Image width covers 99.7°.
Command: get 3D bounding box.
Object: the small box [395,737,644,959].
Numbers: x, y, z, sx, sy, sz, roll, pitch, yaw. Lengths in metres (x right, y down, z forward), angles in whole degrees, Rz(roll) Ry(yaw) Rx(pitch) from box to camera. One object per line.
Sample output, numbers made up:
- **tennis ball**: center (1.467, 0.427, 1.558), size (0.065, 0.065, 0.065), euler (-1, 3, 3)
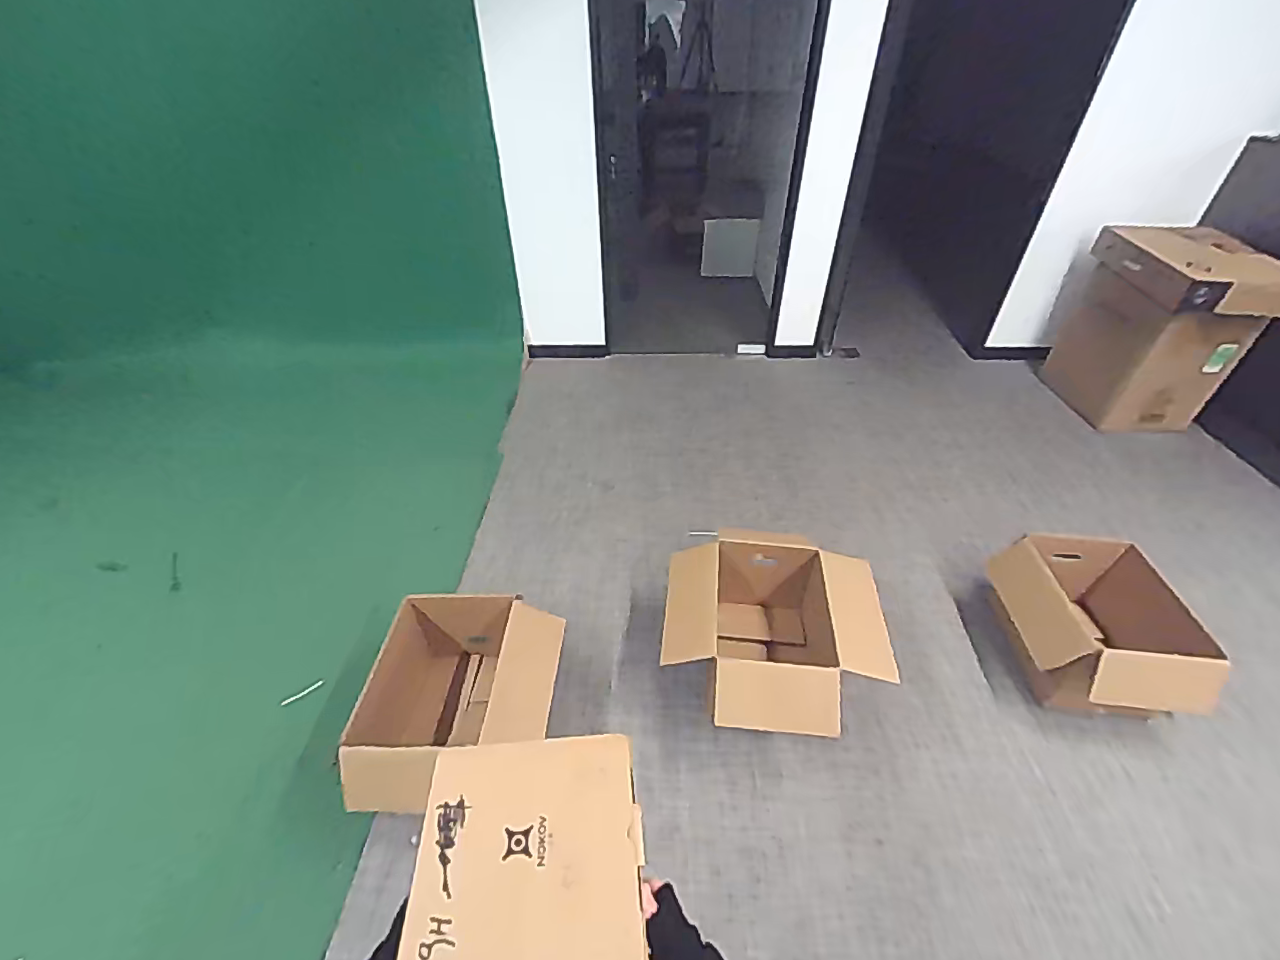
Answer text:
- **small box**: center (-0.093, 0.354, 0.486), size (0.179, 0.176, 0.168), euler (-1, 37, -5)
